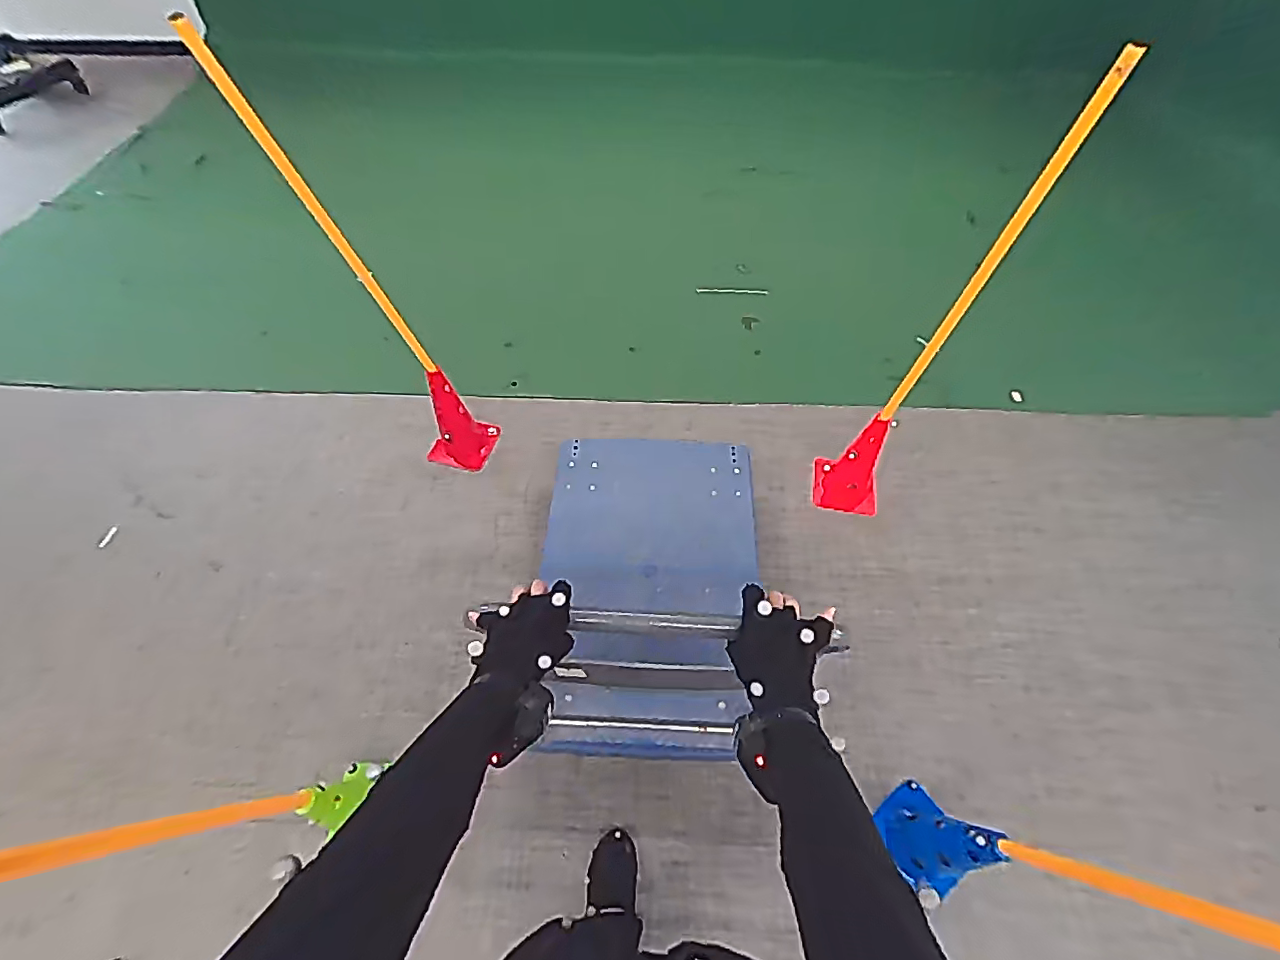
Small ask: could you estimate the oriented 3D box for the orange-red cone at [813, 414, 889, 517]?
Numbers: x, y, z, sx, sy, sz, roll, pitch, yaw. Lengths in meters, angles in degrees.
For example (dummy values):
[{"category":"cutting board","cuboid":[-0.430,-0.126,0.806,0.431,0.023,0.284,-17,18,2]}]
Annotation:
[{"category":"orange-red cone","cuboid":[0.673,-0.070,1.642,0.198,0.360,0.199,11,57,7]}]
